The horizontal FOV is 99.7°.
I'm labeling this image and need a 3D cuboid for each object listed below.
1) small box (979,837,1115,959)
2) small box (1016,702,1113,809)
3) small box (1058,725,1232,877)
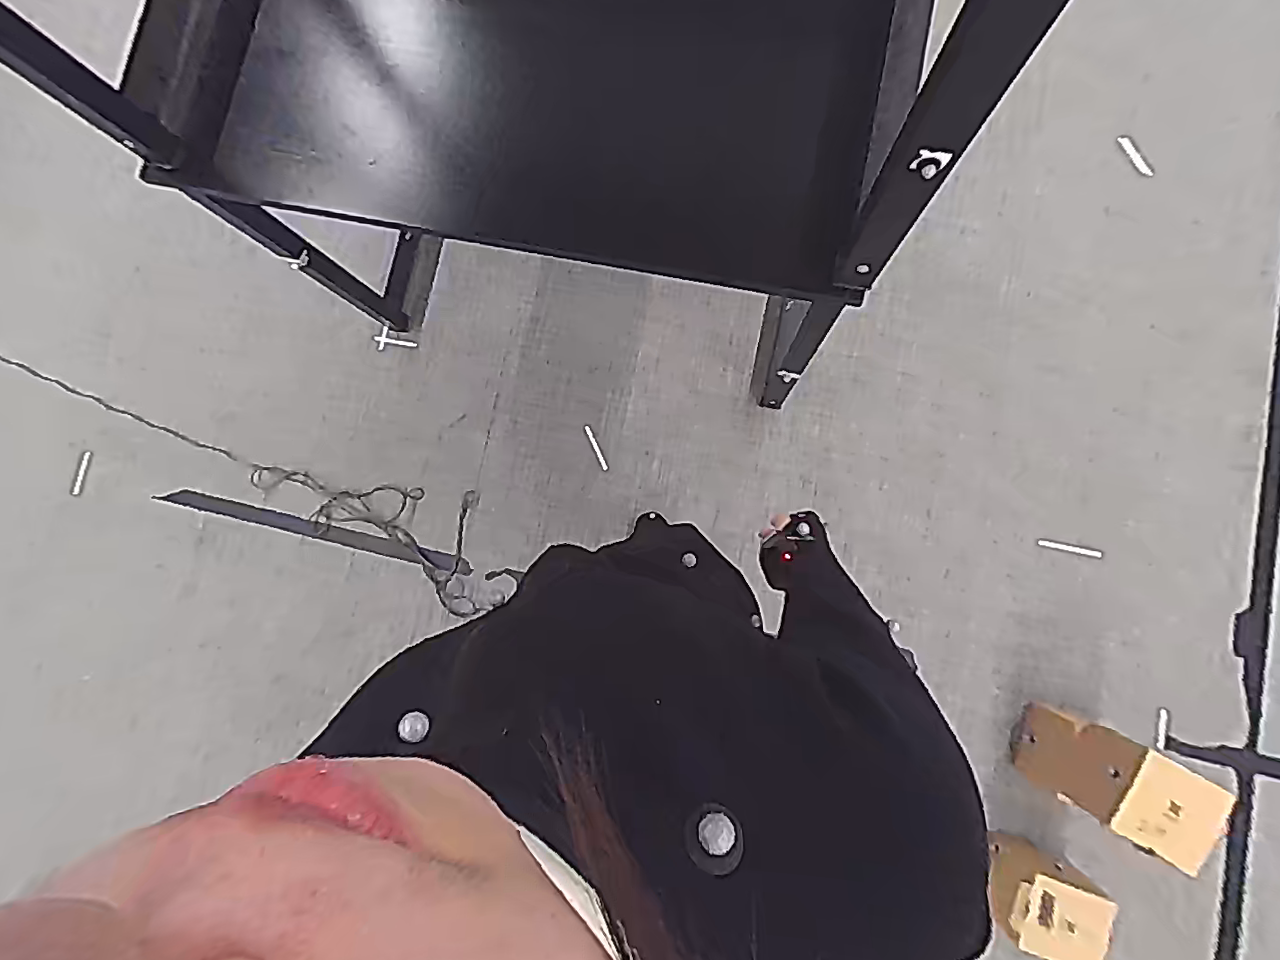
[{"bbox_3d":[0.928,0.971,1.250,0.179,0.176,0.168,18,87,6],"label":"small box"},{"bbox_3d":[1.026,0.654,1.269,0.168,0.176,0.179,17,87,7],"label":"small box"},{"bbox_3d":[1.013,0.638,1.104,0.168,0.176,0.179,30,88,8],"label":"small box"}]
